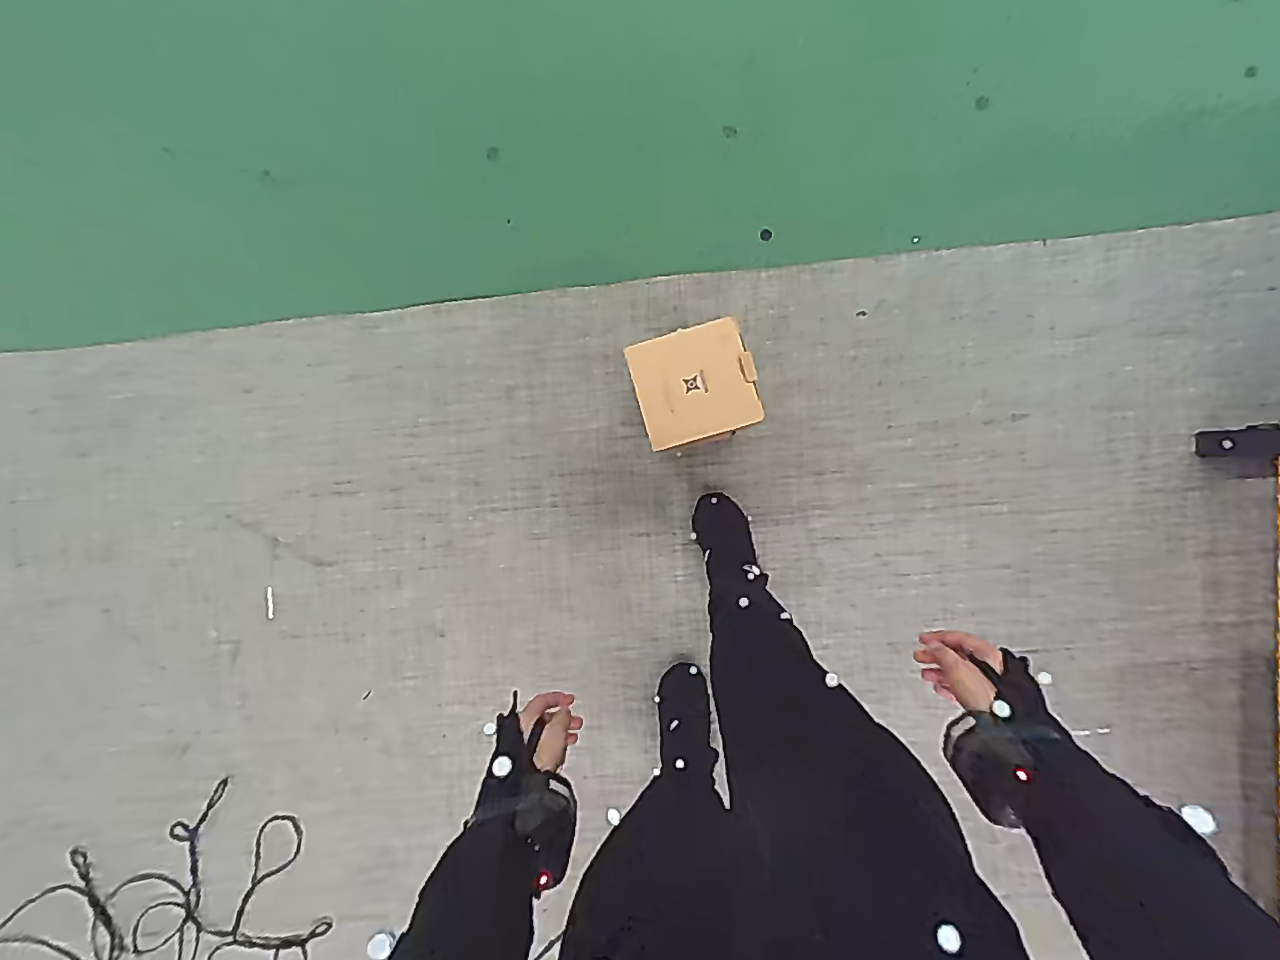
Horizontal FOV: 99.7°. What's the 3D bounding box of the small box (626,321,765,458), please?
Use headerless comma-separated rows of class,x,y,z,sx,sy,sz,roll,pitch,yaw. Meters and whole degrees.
small box,0.087,-0.139,0.887,0.179,0.176,0.168,-17,89,5
